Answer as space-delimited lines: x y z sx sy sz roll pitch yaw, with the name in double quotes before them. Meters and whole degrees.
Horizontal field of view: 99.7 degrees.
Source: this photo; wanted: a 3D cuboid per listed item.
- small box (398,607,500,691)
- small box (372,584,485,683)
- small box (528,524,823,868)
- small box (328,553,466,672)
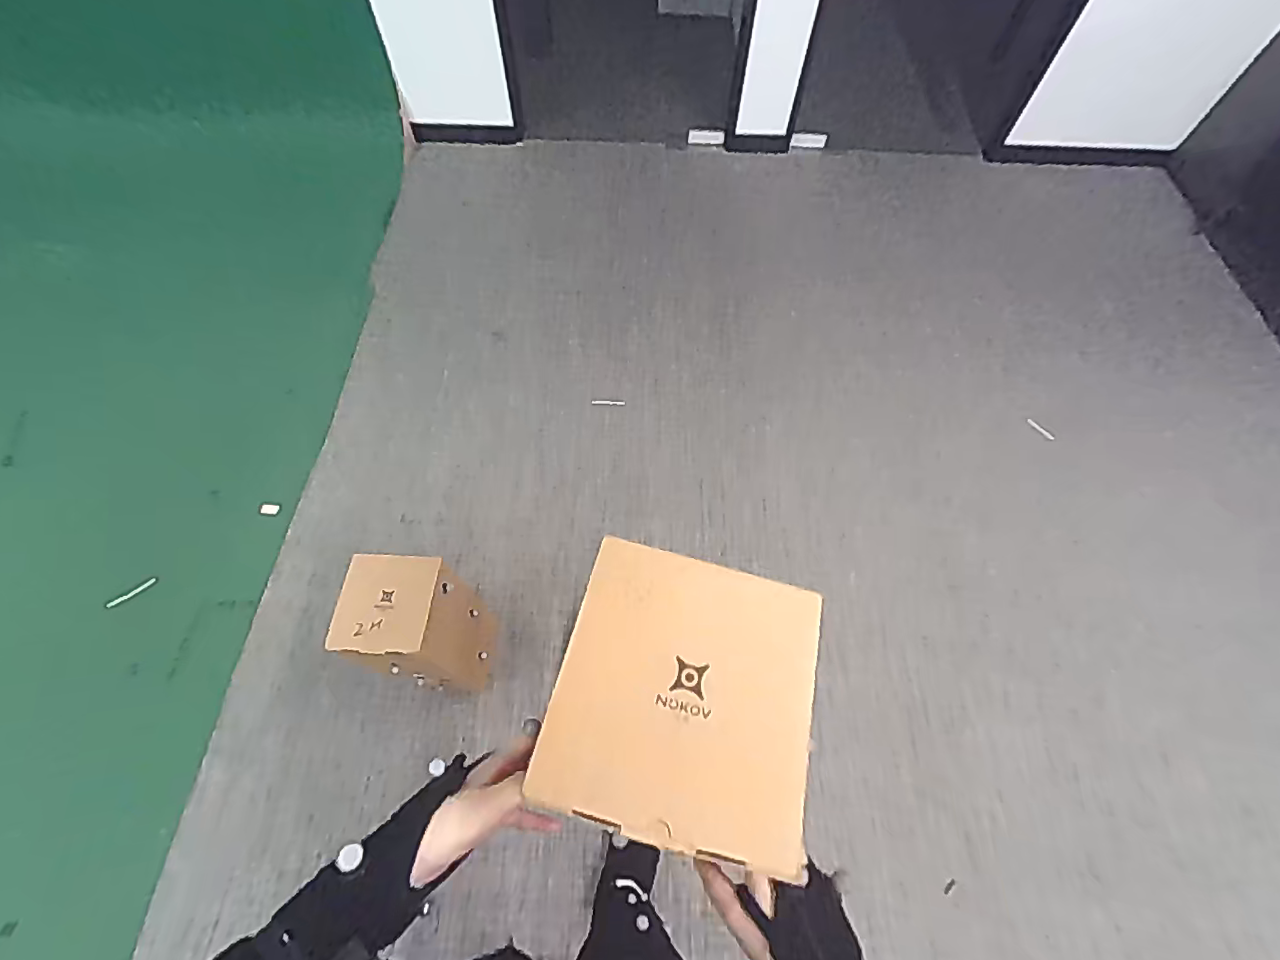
"small box" -0.449 0.405 1.304 0.168 0.176 0.179 6 62 2
"small box" -0.443 0.328 1.161 0.168 0.176 0.179 2 62 1
"small box" 0.025 0.163 0.416 0.168 0.176 0.179 15 60 3
"small box" -0.439 0.252 1.014 0.168 0.176 0.179 2 61 2
